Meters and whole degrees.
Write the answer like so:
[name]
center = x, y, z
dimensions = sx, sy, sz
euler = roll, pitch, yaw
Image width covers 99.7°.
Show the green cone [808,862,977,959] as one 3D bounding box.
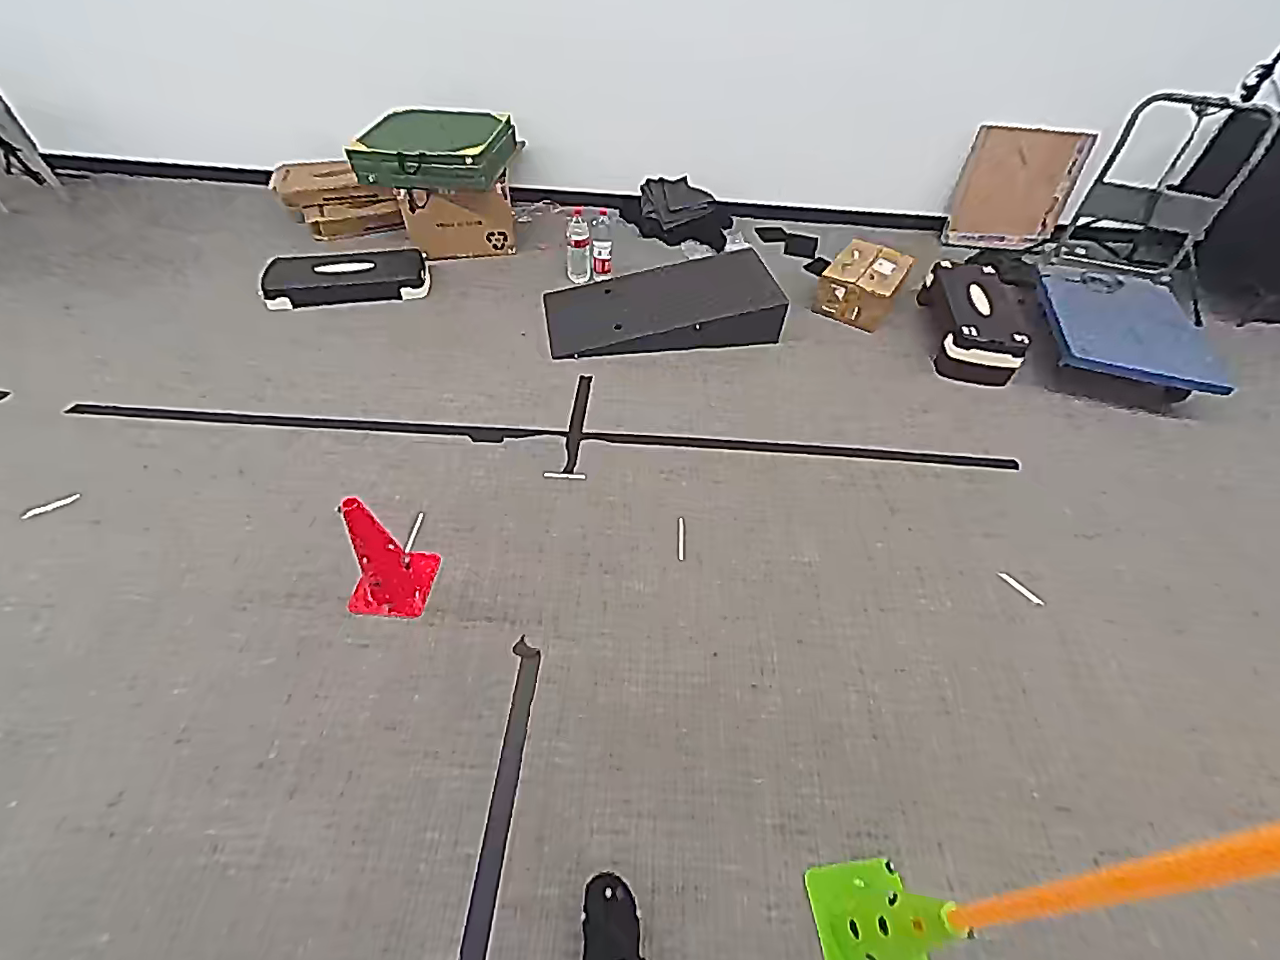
[green cone]
center = 0.452, 0.764, 0.917
dimensions = 0.200, 0.368, 0.202
euler = -4, 51, -7
